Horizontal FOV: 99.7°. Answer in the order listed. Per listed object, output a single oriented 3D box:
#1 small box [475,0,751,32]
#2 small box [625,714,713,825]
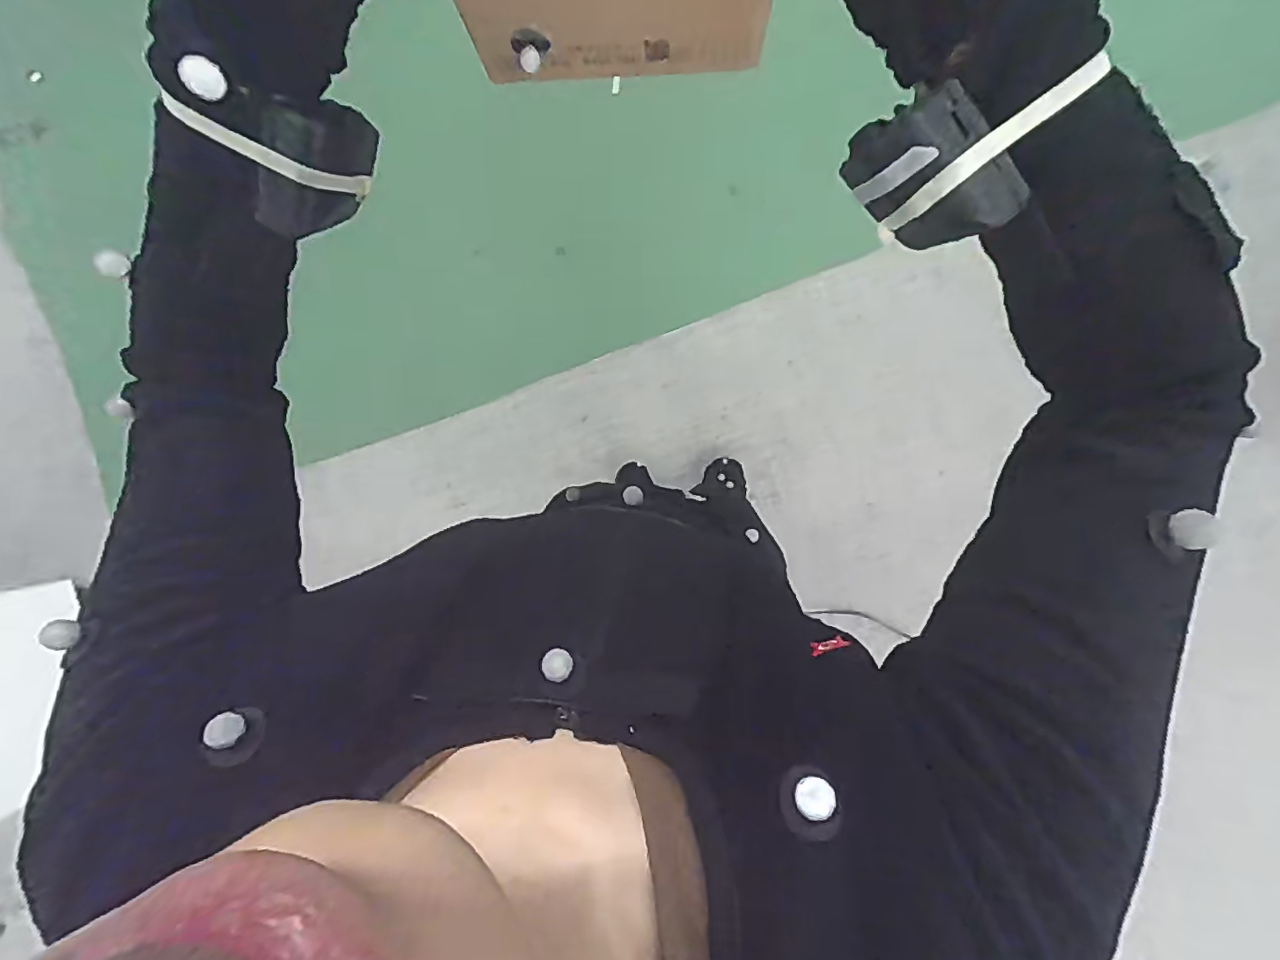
[{"bbox_3d":[-0.021,-0.346,0.243,0.168,0.176,0.179,0,90,3],"label":"small box"},{"bbox_3d":[0.075,0.737,1.394,0.179,0.176,0.168,-20,90,2],"label":"small box"}]
